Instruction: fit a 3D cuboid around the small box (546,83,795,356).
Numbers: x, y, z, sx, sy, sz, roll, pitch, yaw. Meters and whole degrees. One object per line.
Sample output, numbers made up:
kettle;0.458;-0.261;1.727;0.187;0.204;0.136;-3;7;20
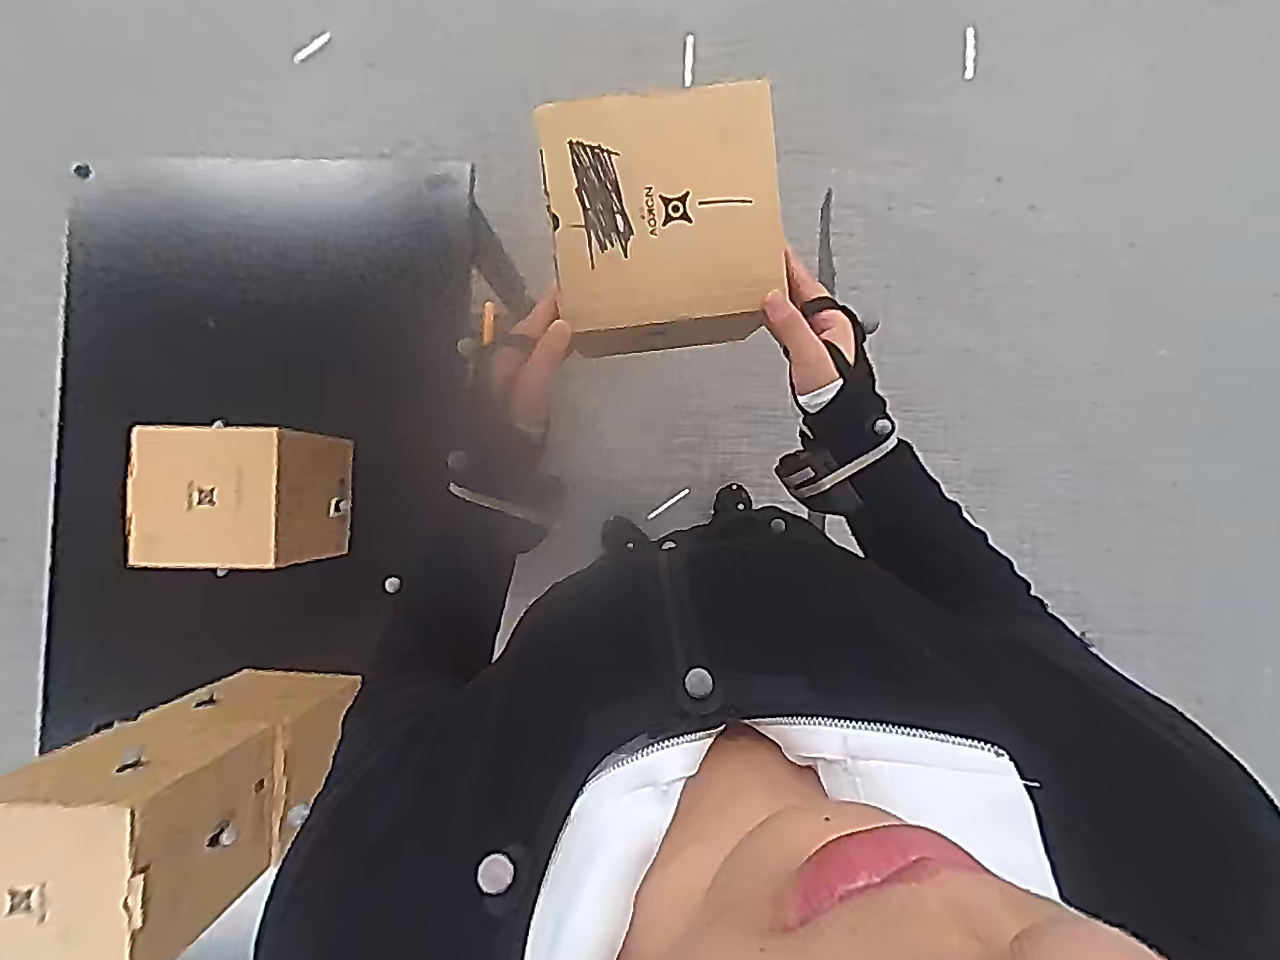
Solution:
small box;0.023;-0.209;0.483;0.179;0.176;0.168;-6;96;-1

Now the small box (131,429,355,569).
small box;-0.507;0.024;0.712;0.179;0.176;0.168;0;89;0

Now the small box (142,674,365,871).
small box;-0.490;0.361;0.698;0.179;0.176;0.168;2;88;1

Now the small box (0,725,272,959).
small box;-0.501;0.358;0.535;0.179;0.176;0.168;0;88;0
